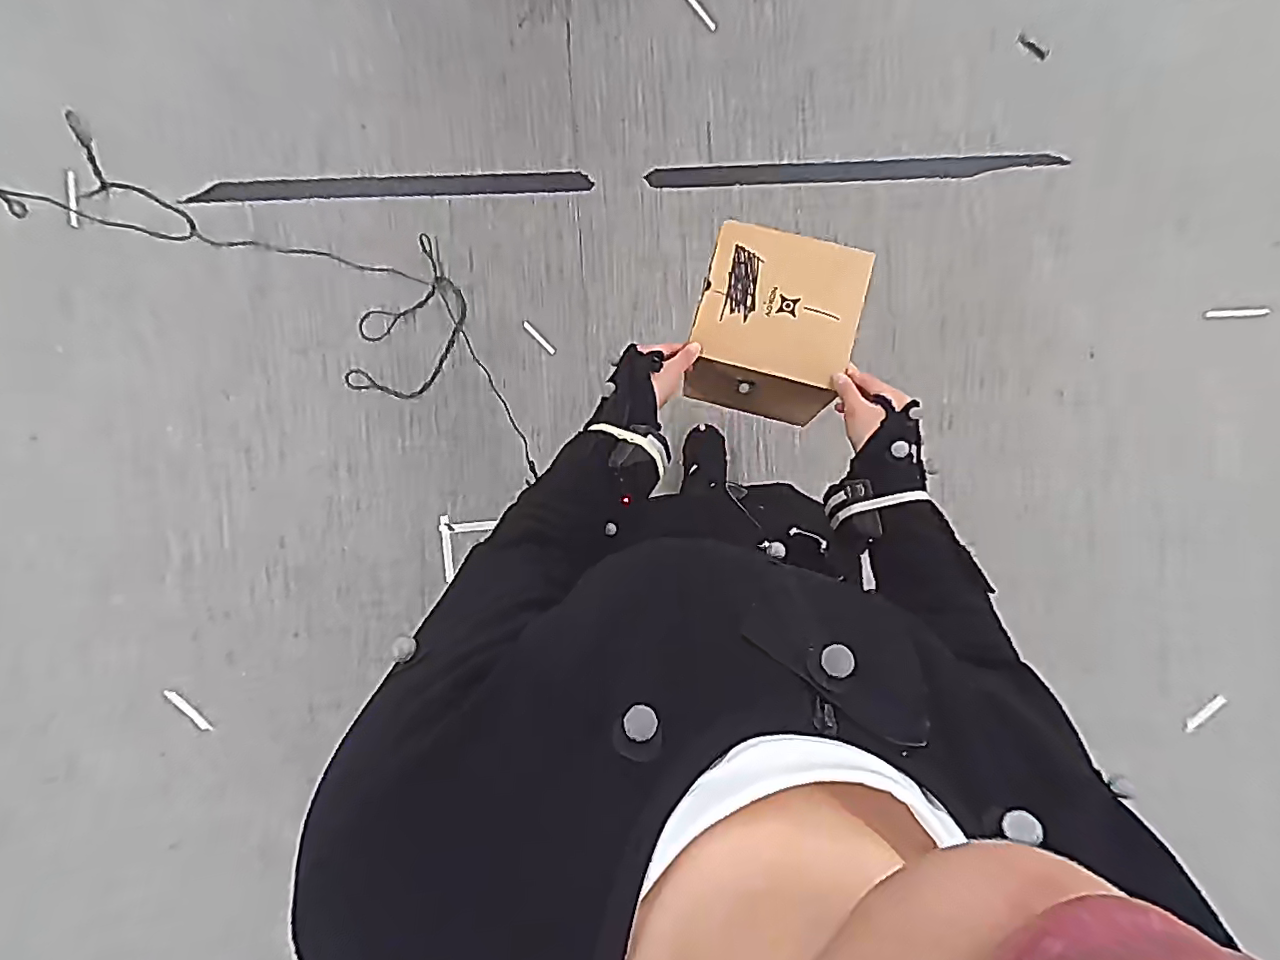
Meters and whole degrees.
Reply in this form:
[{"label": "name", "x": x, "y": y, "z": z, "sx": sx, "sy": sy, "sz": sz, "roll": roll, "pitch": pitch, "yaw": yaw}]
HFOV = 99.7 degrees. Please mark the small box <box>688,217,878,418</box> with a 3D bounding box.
[{"label": "small box", "x": 0.162, "y": -0.188, "z": 0.674, "sx": 0.179, "sy": 0.176, "sz": 0.168, "roll": 15, "pitch": 84, "yaw": 5}]
